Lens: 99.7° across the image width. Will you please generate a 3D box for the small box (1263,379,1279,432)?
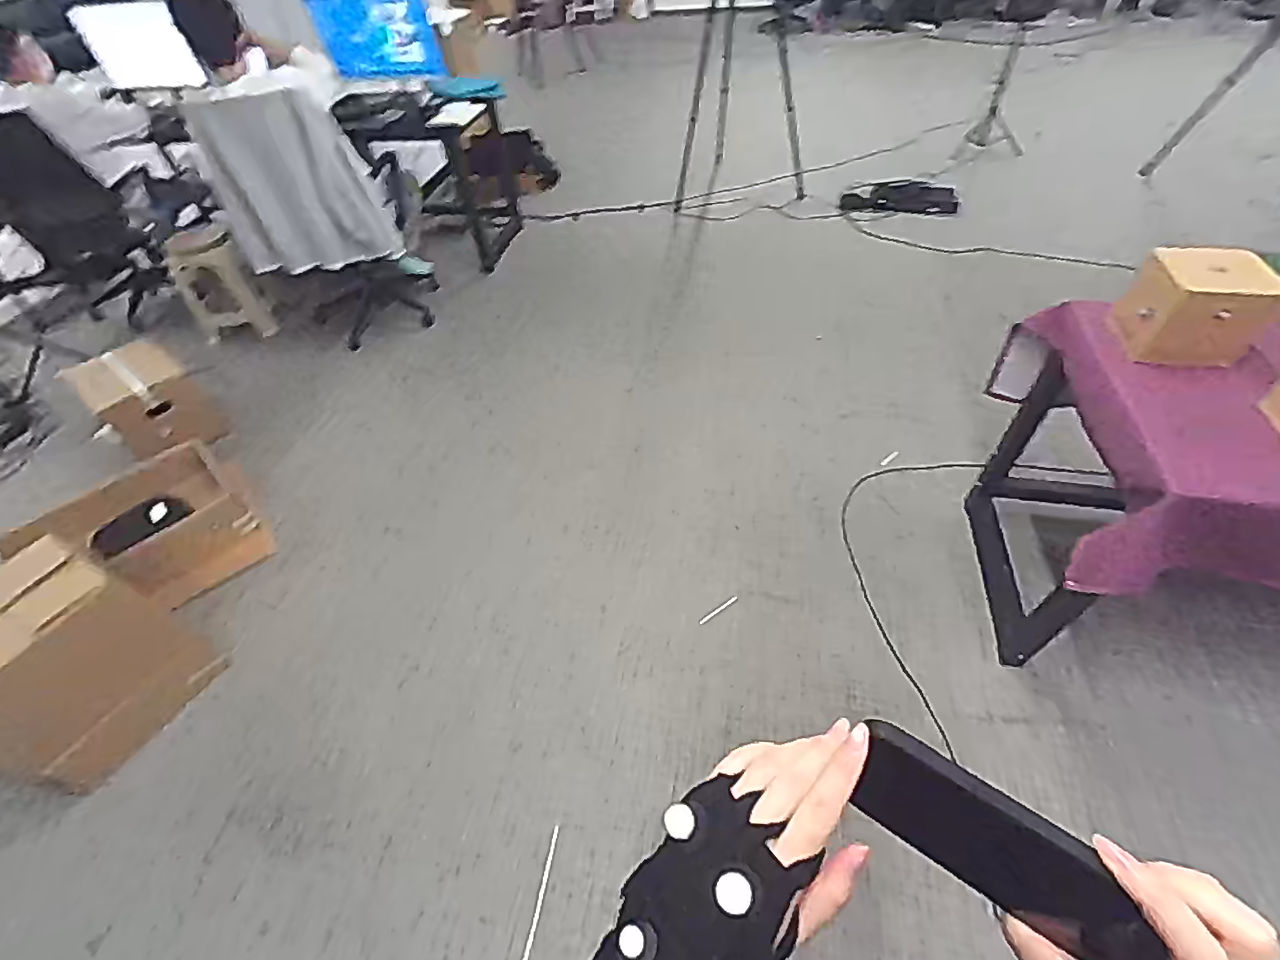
[{"bbox_3d":[1.215,-0.132,0.894,0.179,0.176,0.168,8,50,11],"label":"small box"}]
